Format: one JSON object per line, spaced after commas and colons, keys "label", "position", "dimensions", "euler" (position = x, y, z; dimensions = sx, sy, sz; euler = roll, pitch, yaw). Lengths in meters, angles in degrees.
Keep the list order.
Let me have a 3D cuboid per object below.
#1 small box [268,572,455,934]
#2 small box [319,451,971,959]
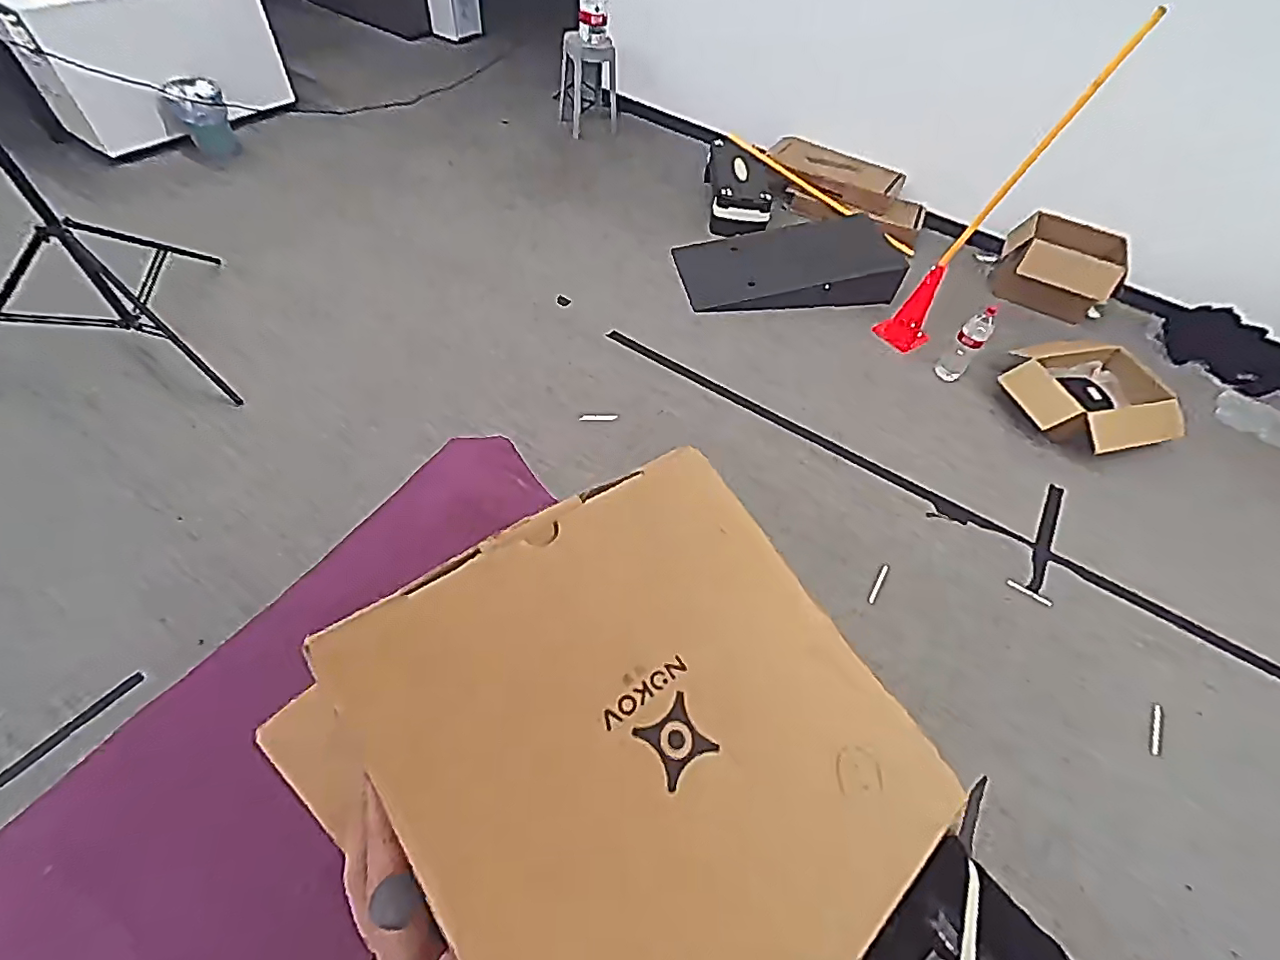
{"label": "small box", "position": [-0.142, 0.215, 0.437], "dimensions": [0.179, 0.176, 0.168], "euler": [36, 58, 18]}
{"label": "small box", "position": [-0.009, 0.123, 0.250], "dimensions": [0.168, 0.176, 0.179], "euler": [-28, 72, -29]}
